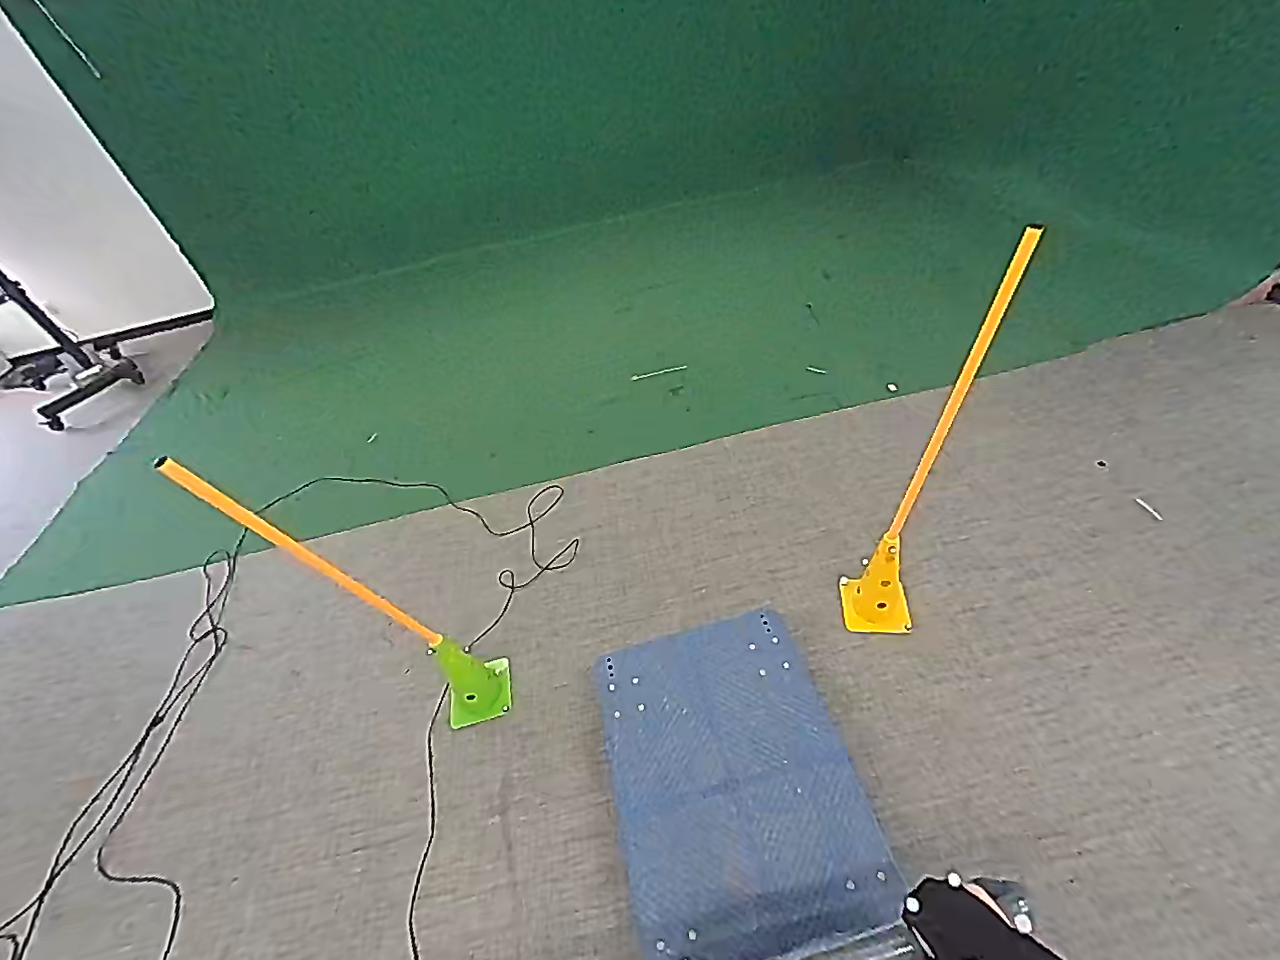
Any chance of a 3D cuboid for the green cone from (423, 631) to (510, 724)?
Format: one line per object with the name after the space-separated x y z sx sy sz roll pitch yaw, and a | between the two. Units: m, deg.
-0.562 0.567 1.668 0.202 0.368 0.200 -17 44 -2 | green cone
